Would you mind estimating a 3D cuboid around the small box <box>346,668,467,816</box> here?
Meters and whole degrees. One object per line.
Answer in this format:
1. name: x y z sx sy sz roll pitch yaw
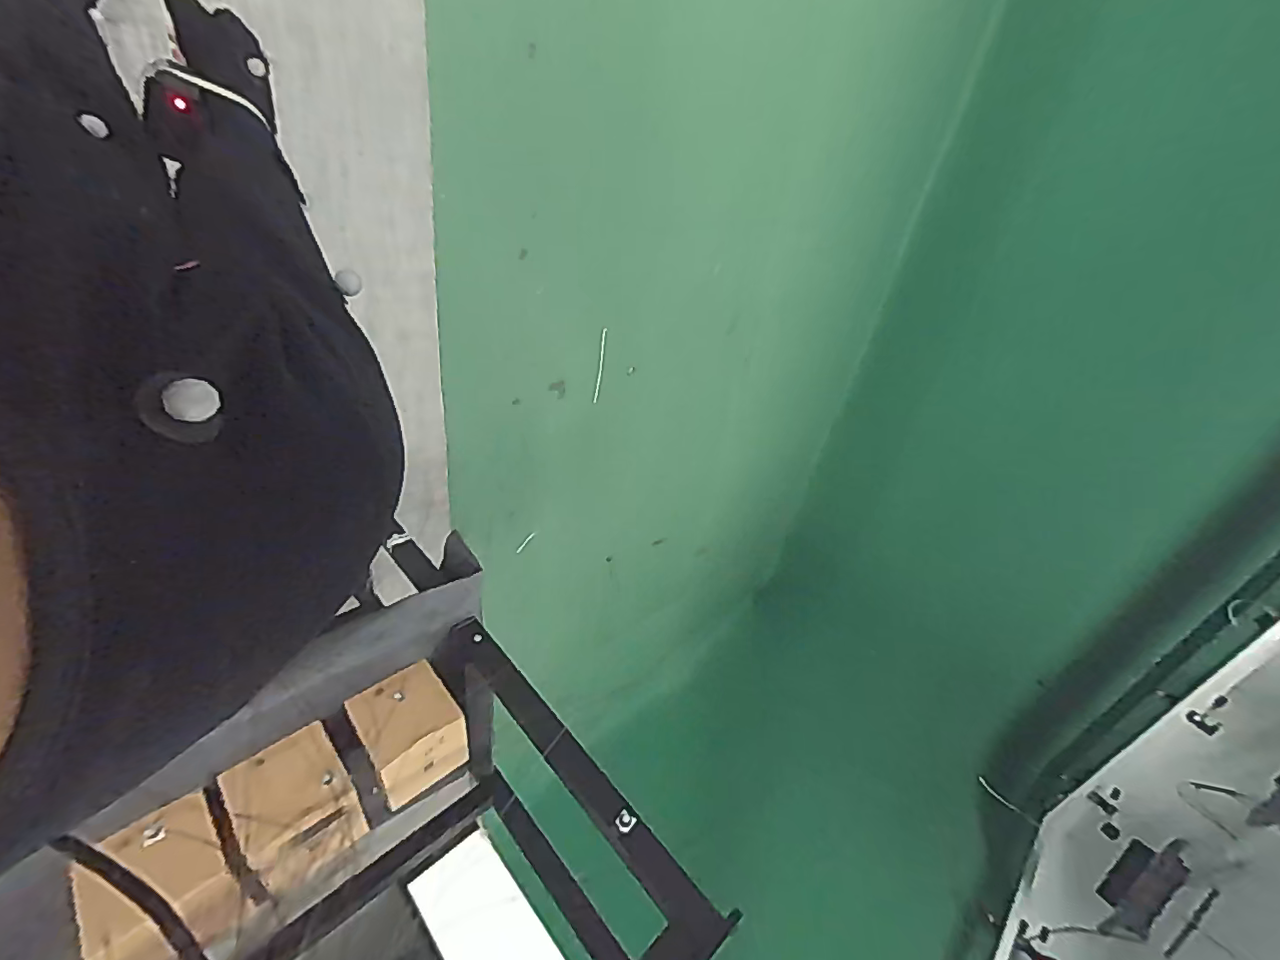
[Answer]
1. small box: -0.469 0.522 1.096 0.168 0.176 0.179 -25 137 -38
